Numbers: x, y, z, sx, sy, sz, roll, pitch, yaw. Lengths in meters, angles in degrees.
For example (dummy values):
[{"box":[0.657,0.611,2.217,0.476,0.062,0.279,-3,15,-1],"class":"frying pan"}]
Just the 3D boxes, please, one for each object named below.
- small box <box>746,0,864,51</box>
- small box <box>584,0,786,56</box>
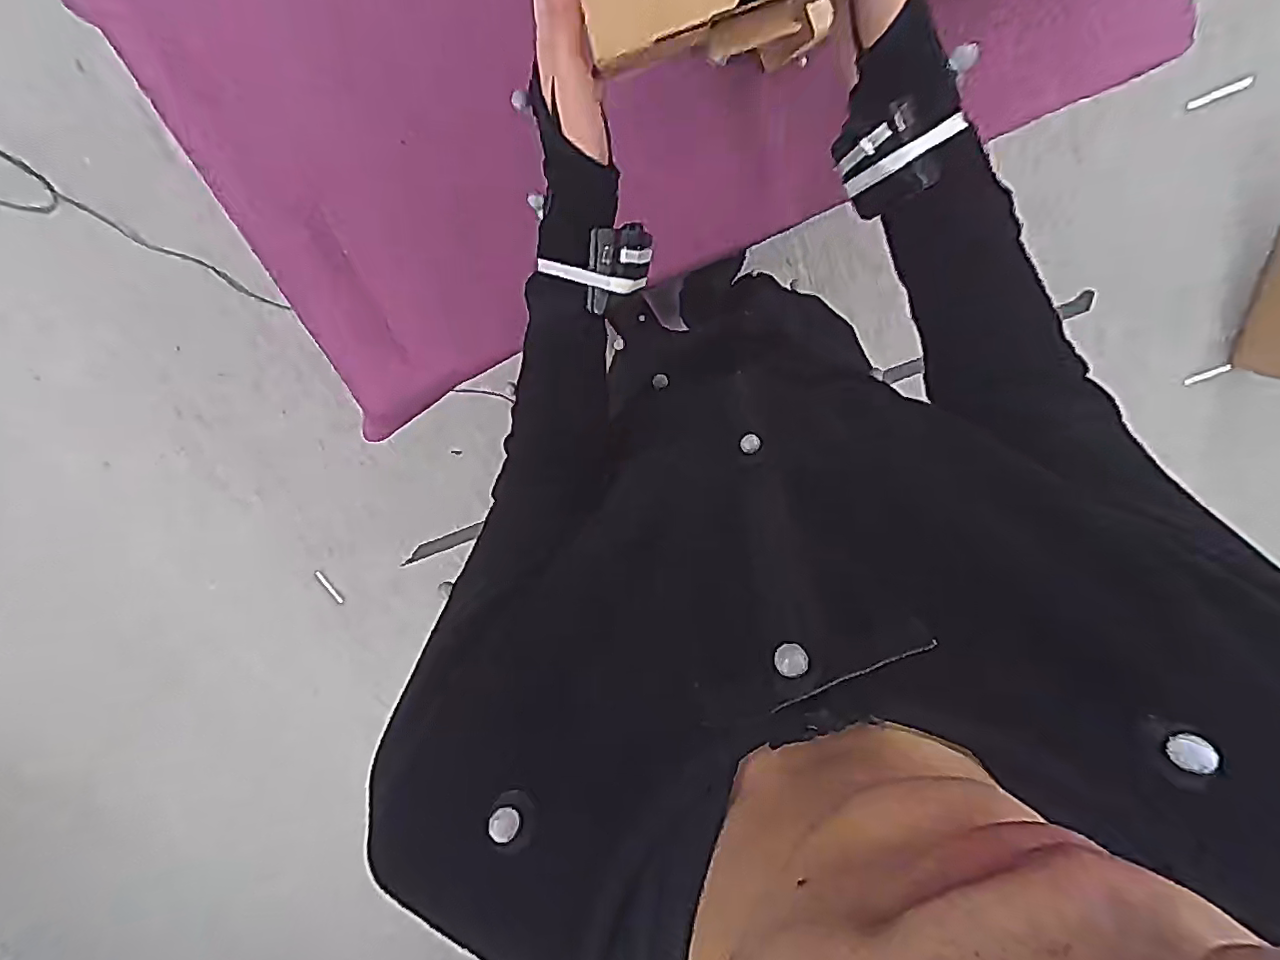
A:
[{"box":[0.187,-0.578,0.545,0.168,0.176,0.179,-29,114,10],"class":"small box"},{"box":[0.030,-0.356,0.281,0.168,0.176,0.179,-14,125,7],"class":"small box"}]
